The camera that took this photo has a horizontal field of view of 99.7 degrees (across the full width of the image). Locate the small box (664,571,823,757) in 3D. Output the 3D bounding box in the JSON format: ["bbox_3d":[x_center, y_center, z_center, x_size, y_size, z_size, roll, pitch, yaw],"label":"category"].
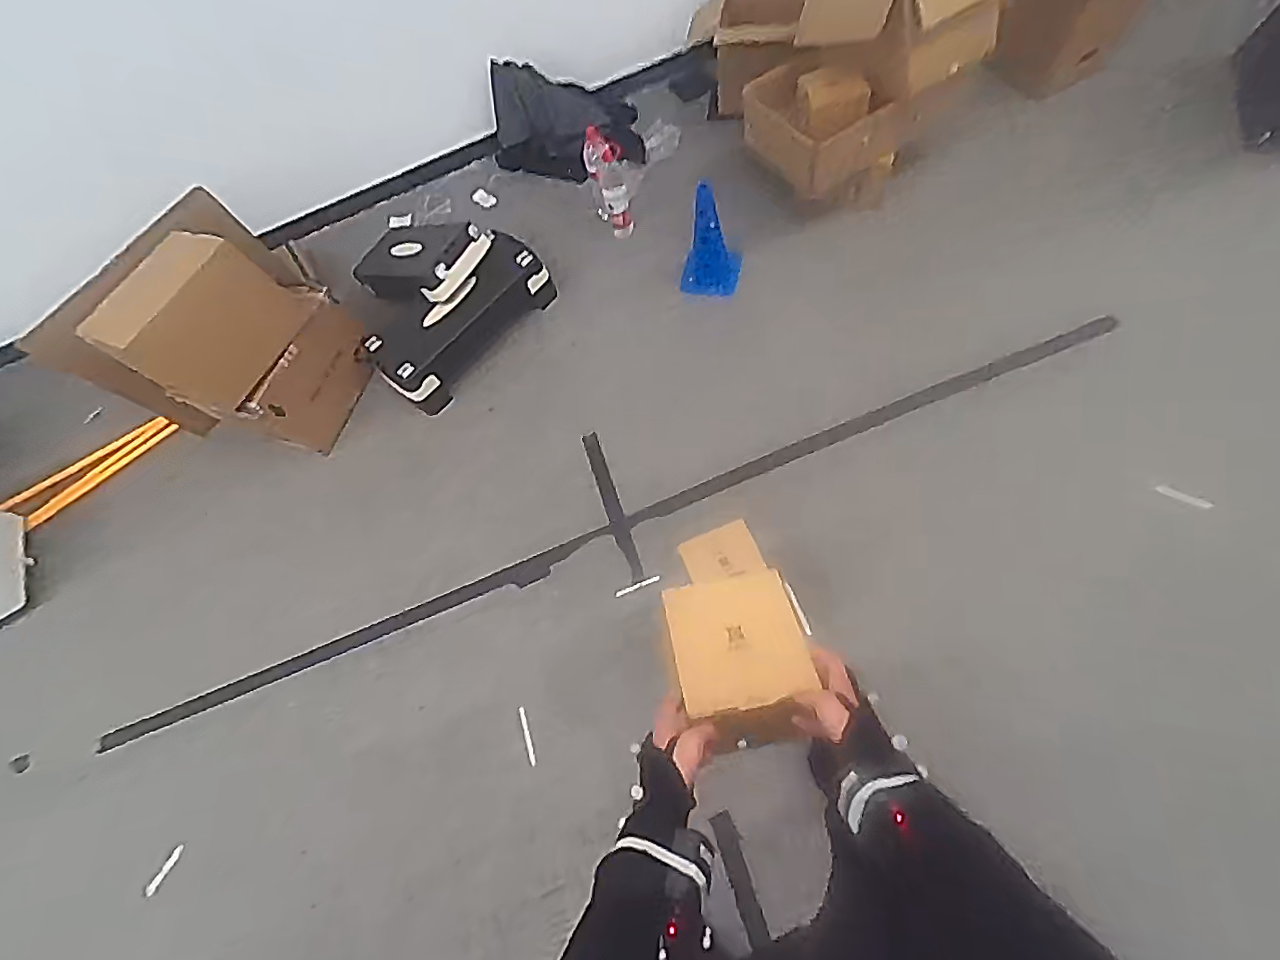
[{"bbox_3d":[0.130,0.255,0.746,0.168,0.176,0.179,-11,48,-3],"label":"small box"}]

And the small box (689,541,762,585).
[{"bbox_3d":[0.243,0.290,1.420,0.168,0.176,0.179,-26,65,1],"label":"small box"}]
